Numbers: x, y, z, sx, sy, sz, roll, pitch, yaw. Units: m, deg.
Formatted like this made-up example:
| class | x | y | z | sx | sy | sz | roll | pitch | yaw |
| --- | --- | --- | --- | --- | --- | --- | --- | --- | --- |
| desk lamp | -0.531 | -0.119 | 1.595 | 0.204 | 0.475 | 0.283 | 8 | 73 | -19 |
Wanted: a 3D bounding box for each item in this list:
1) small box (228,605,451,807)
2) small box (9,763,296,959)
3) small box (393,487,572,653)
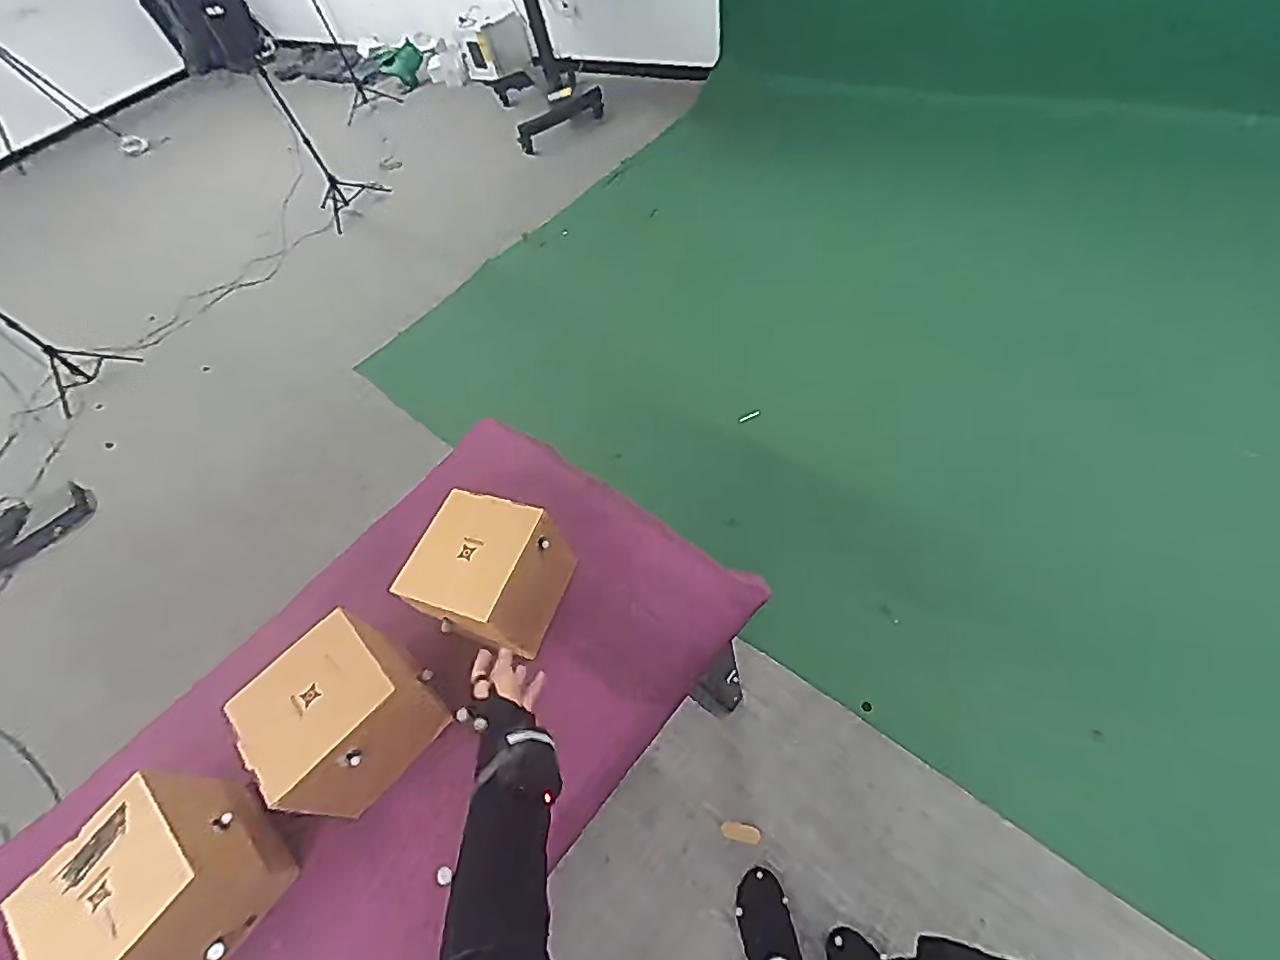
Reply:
| class | x | y | z | sx | sy | sz | roll | pitch | yaw |
| --- | --- | --- | --- | --- | --- | --- | --- | --- | --- |
| small box | -0.397 | 0.312 | 0.737 | 0.179 | 0.176 | 0.168 | -43 | 57 | -18 |
| small box | -0.574 | 0.484 | 0.655 | 0.179 | 0.176 | 0.168 | 28 | 66 | 28 |
| small box | -0.222 | 0.139 | 0.817 | 0.168 | 0.176 | 0.179 | 11 | 58 | 21 |
